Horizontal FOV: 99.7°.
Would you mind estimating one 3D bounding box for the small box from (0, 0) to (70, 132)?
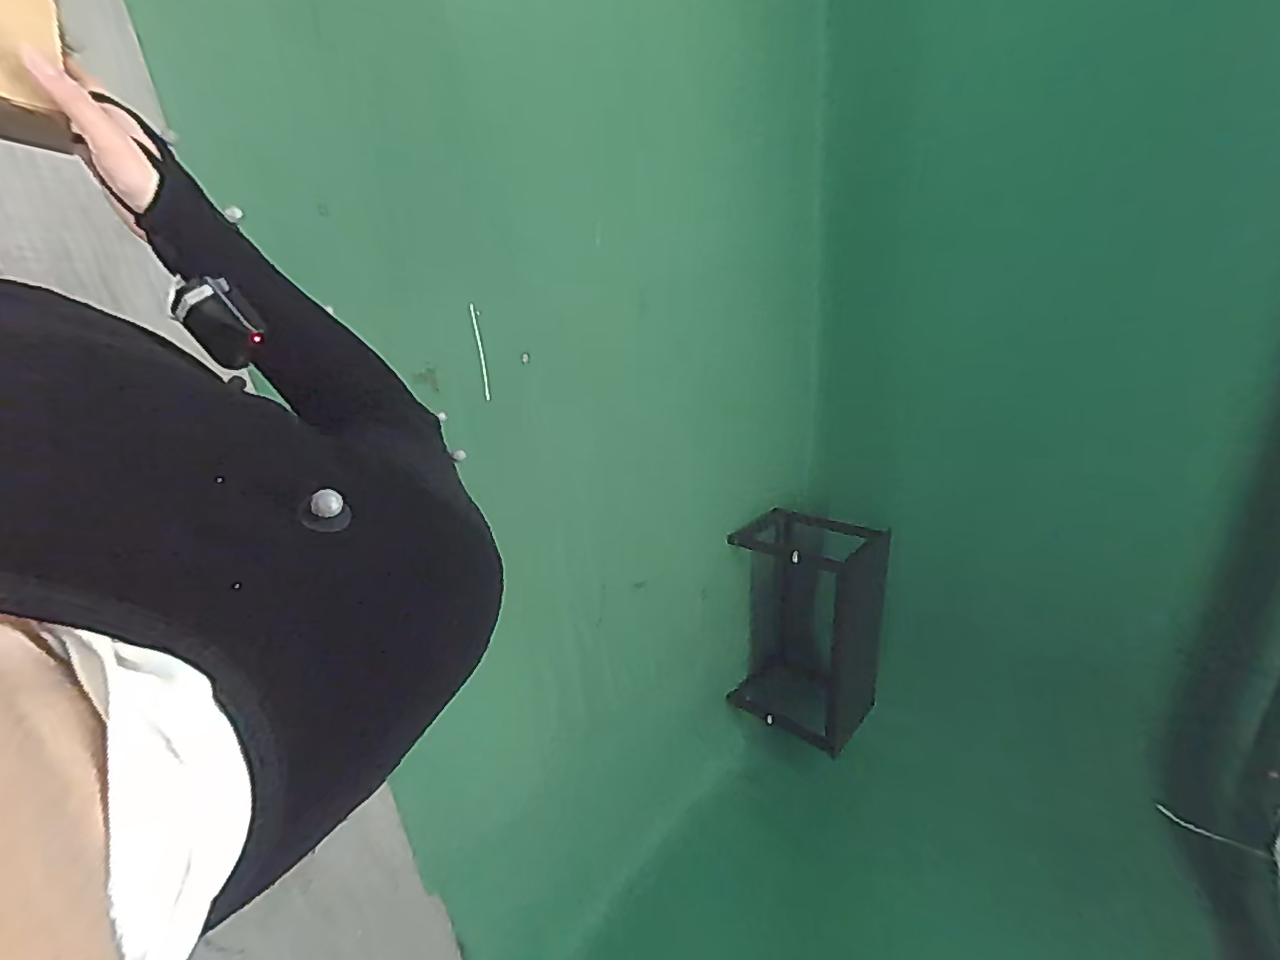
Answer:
[{"bbox_3d":[-0.525,-0.371,0.373,0.168,0.176,0.179,-6,110,-43],"label":"small box"}]
